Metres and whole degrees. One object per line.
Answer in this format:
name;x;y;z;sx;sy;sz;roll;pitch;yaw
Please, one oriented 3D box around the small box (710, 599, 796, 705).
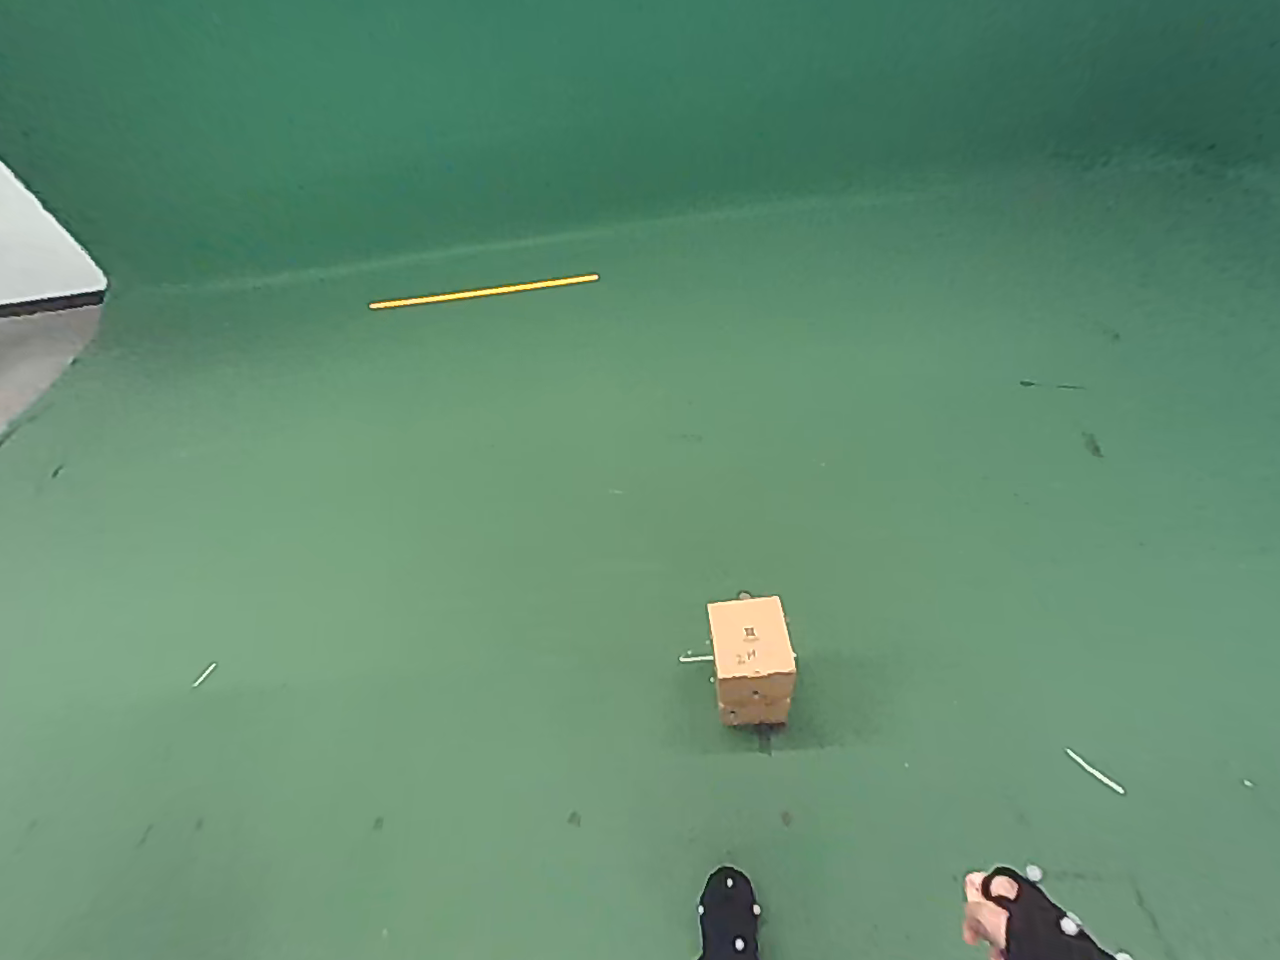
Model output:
small box;0.253;0.398;1.244;0.168;0.176;0.179;-7;50;5
